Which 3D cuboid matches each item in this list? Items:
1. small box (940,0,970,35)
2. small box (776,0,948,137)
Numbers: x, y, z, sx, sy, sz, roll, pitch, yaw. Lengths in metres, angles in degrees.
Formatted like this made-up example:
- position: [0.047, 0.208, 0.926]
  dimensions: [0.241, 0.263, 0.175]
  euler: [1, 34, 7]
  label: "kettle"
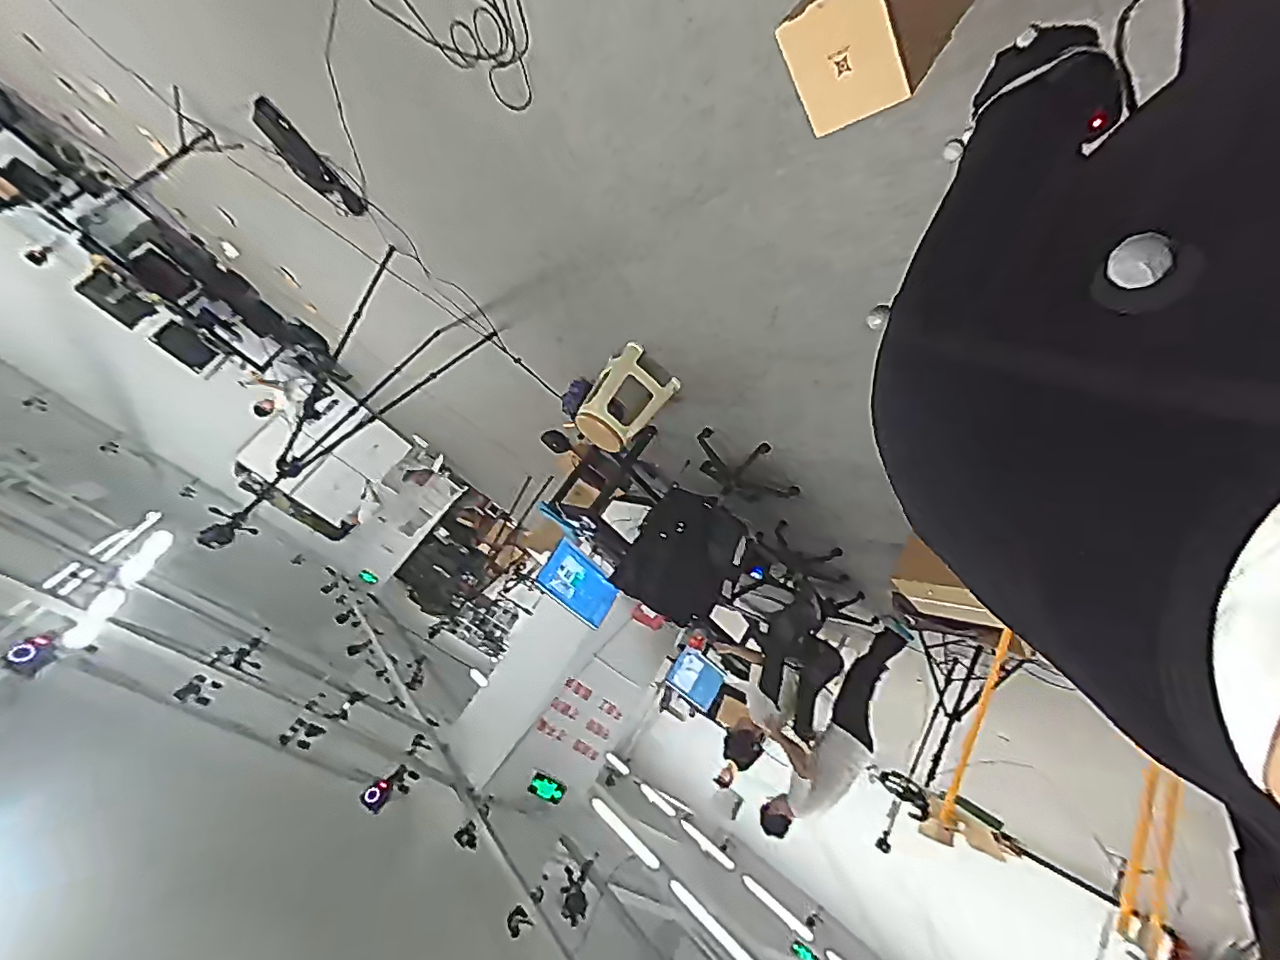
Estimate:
- position: [0.434, -0.826, 0.892]
  dimensions: [0.168, 0.176, 0.179]
  euler: [10, 149, 51]
  label: "small box"
- position: [0.351, -0.694, 0.845]
  dimensions: [0.168, 0.176, 0.179]
  euler: [10, 149, 52]
  label: "small box"
